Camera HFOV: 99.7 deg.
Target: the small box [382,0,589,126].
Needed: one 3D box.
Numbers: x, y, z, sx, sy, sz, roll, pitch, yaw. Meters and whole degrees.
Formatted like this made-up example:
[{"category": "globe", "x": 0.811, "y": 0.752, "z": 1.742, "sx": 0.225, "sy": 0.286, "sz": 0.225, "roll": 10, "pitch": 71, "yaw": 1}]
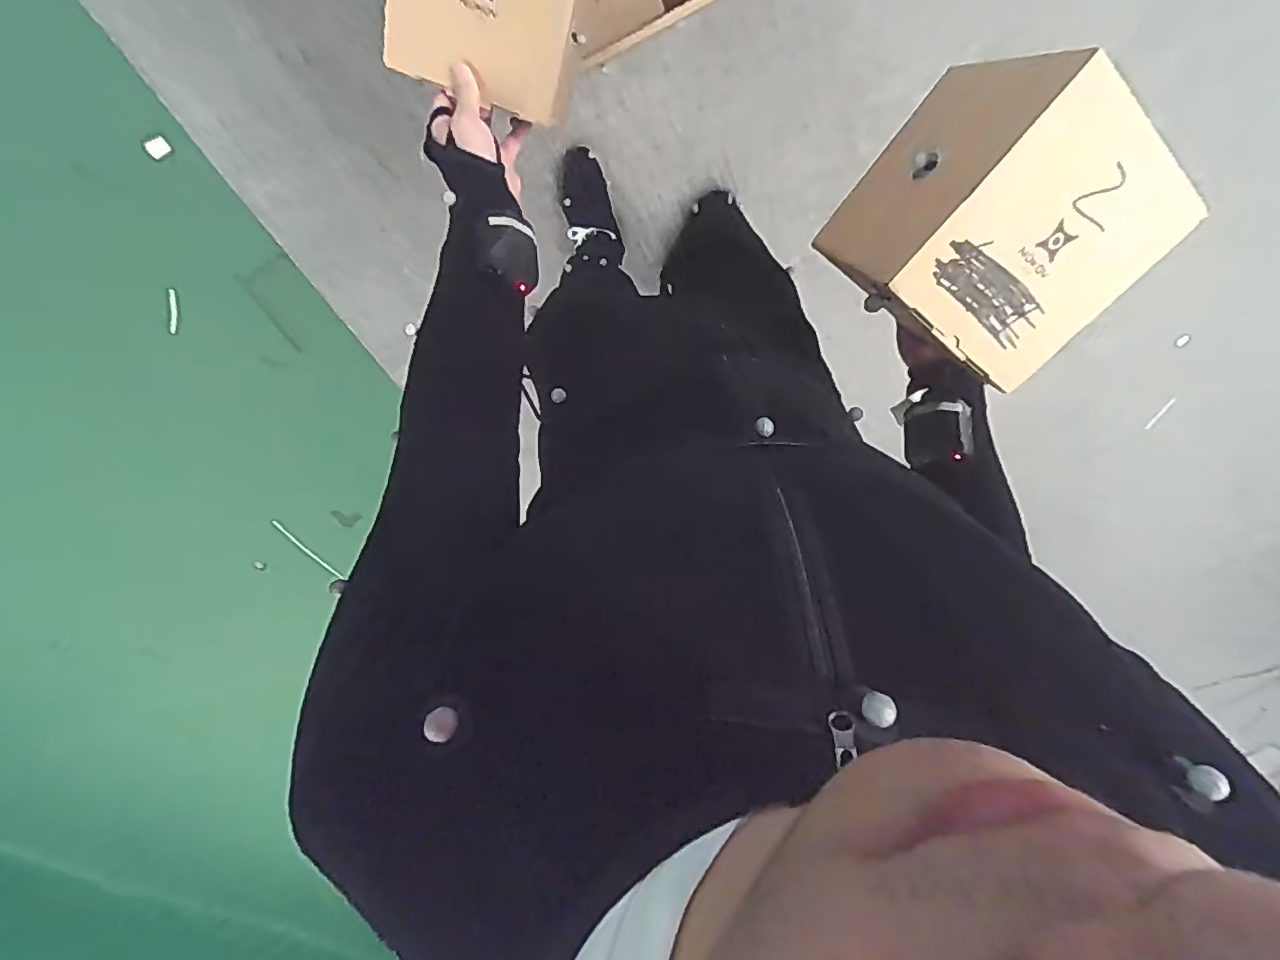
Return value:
[{"category": "small box", "x": -0.148, "y": -0.495, "z": 0.560, "sx": 0.168, "sy": 0.176, "sz": 0.179, "roll": 15, "pitch": 121, "yaw": -11}]
